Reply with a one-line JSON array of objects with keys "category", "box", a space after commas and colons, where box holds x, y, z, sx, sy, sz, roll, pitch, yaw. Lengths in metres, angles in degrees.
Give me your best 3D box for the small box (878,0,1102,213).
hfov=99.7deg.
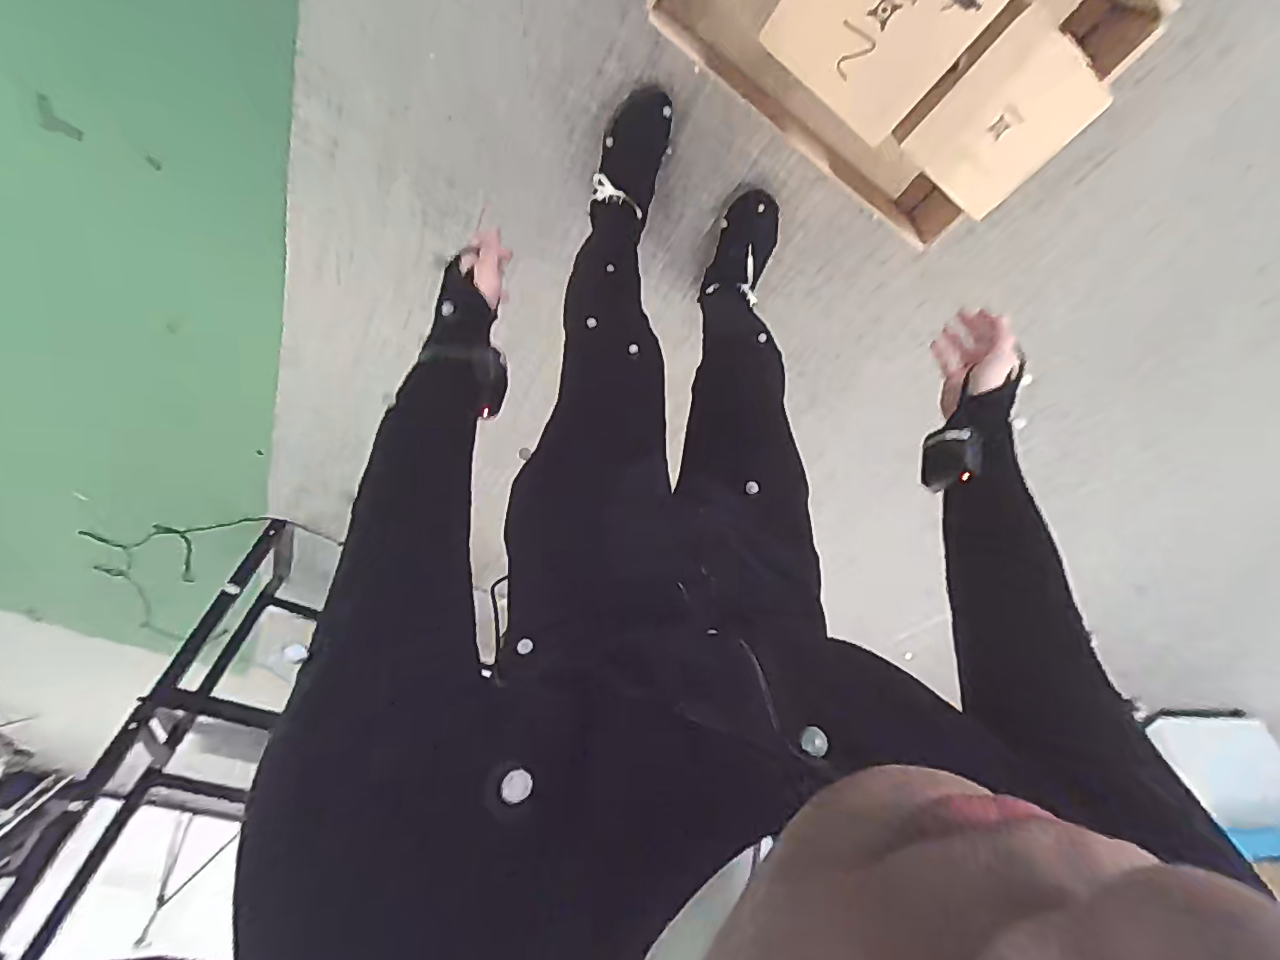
[{"category": "small box", "box": [0.456, -0.516, 0.736, 0.168, 0.176, 0.179, 29, 134, -19]}]
